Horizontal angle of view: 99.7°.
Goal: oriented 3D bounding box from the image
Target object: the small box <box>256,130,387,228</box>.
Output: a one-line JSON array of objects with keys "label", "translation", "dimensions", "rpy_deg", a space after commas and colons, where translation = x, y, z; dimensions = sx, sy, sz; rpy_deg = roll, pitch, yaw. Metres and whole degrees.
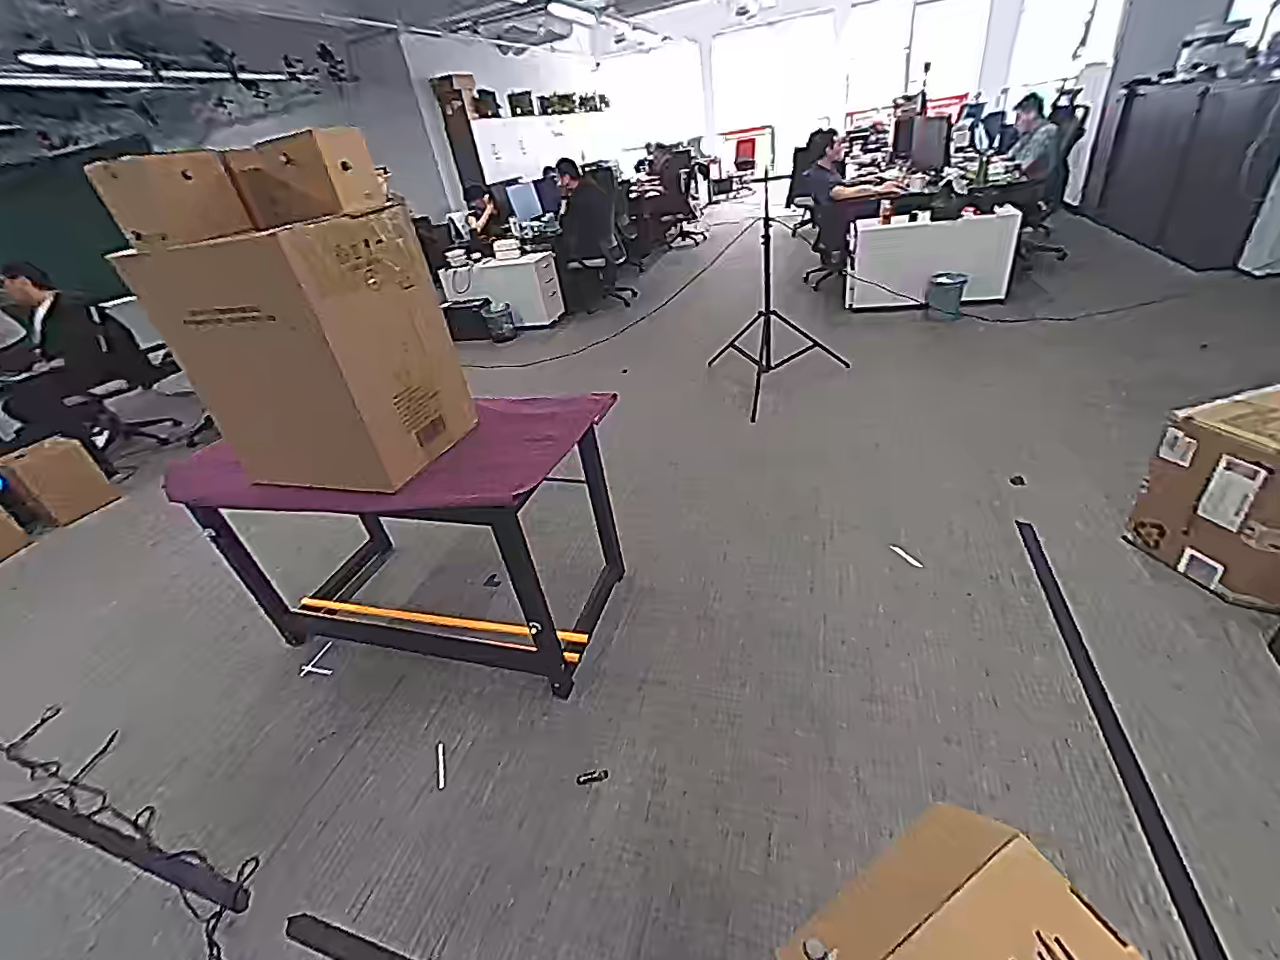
[{"label": "small box", "translation": [-0.742, -0.714, 1.283], "dimensions": [0.179, 0.176, 0.168], "rpy_deg": [-2, 33, 16]}]
